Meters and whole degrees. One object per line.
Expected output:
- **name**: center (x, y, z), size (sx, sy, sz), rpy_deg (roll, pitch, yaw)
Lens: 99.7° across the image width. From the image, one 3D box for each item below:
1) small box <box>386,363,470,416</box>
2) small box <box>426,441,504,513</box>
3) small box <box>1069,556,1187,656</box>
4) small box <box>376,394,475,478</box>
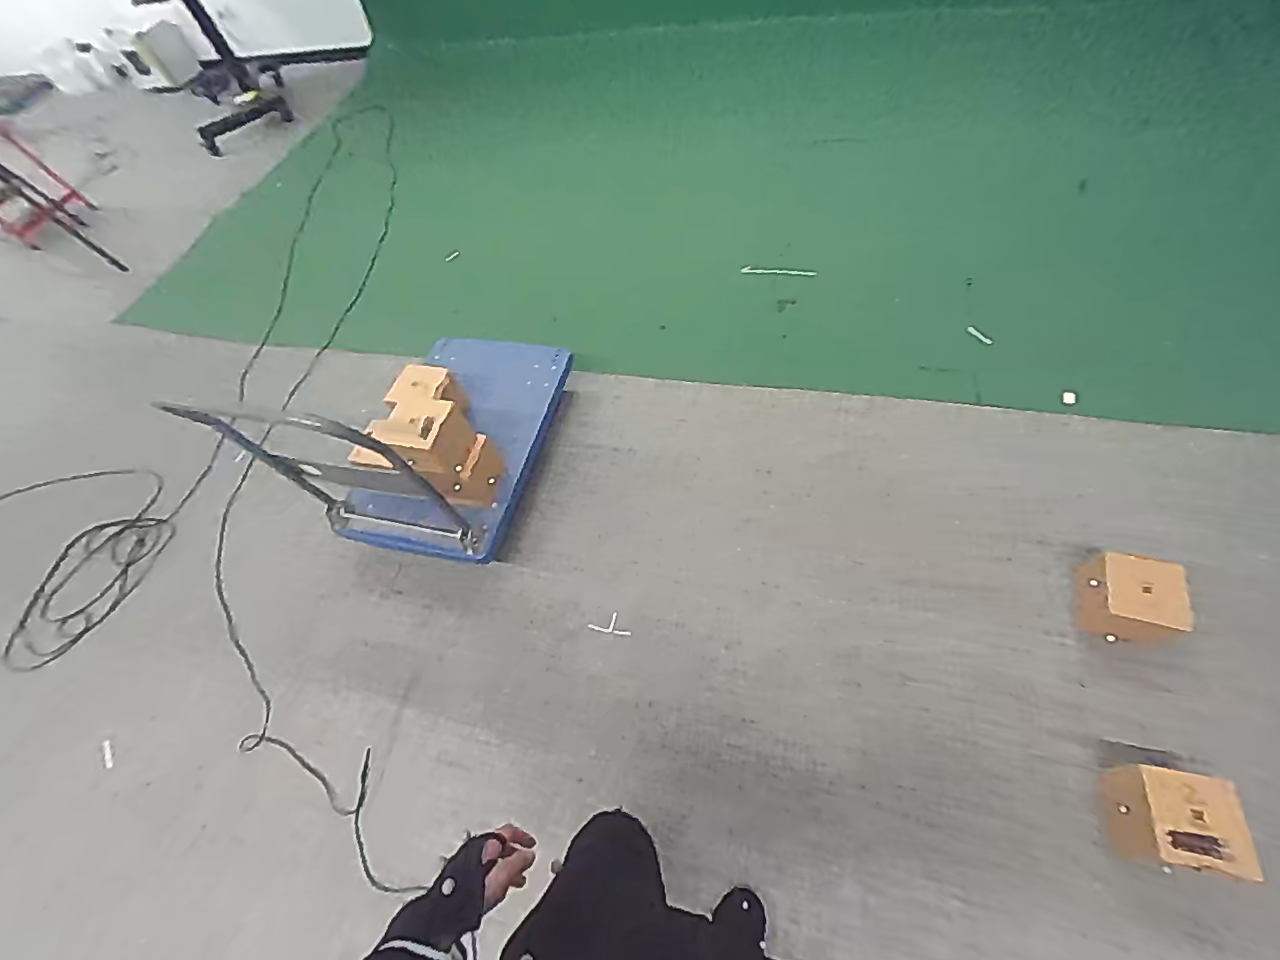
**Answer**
- **small box**: center (-0.722, -0.276, 1.856), size (0.179, 0.176, 0.168), rpy_deg (12, 61, 16)
- **small box**: center (-0.556, -0.028, 1.685), size (0.168, 0.176, 0.179), rpy_deg (39, 72, 26)
- **small box**: center (1.233, 0.325, 1.382), size (0.168, 0.176, 0.179), rpy_deg (14, 61, 18)
- **small box**: center (-0.601, -0.122, 1.546), size (0.179, 0.176, 0.168), rpy_deg (8, 59, 15)
